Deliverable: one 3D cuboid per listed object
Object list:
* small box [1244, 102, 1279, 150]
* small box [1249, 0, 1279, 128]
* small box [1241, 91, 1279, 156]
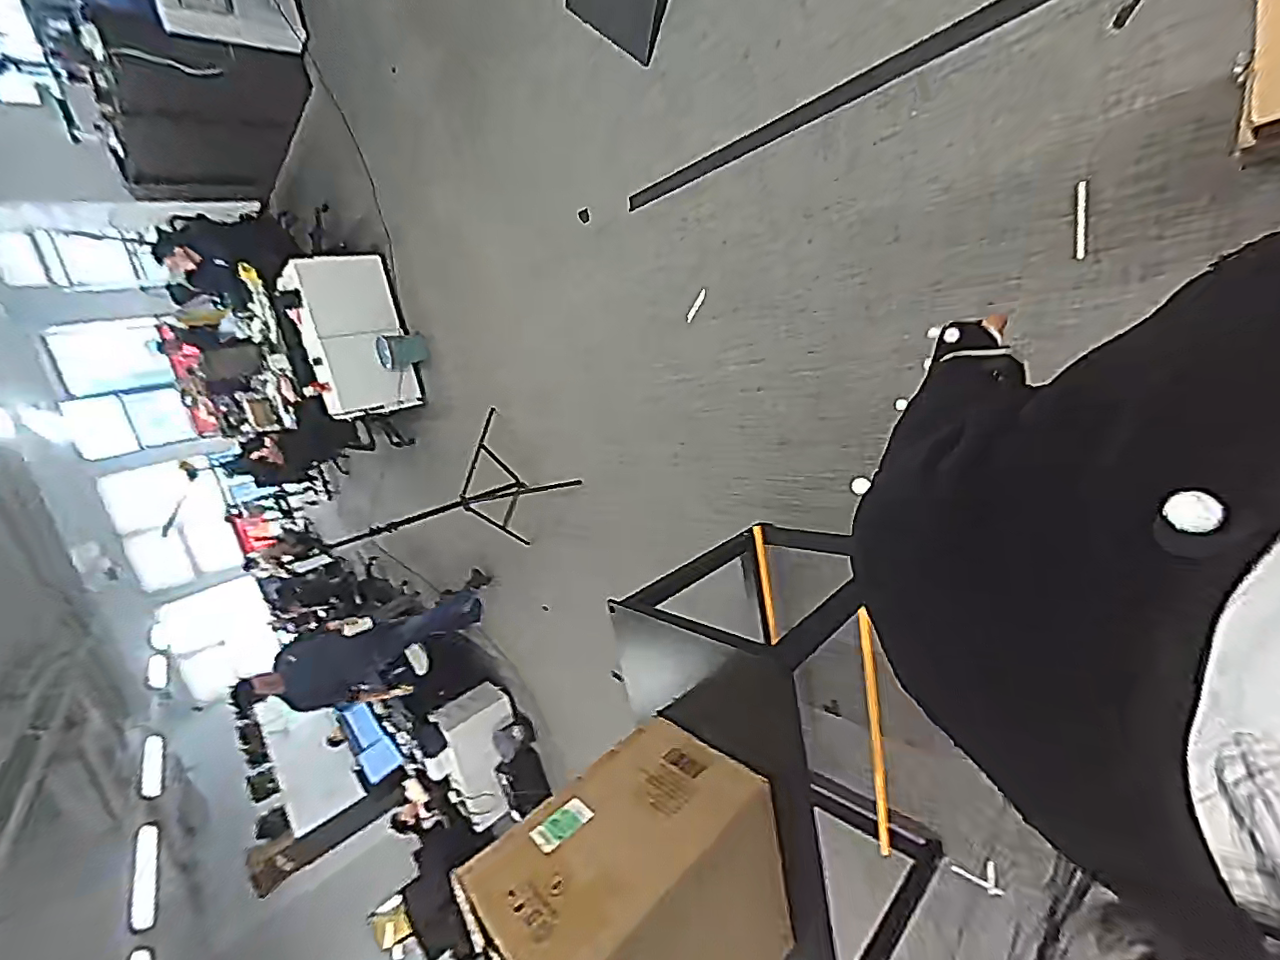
[{"bbox_3d":[0.811,-0.491,0.601,0.168,0.176,0.179,10,117,48],"label":"small box"},{"bbox_3d":[0.693,-0.449,0.494,0.168,0.176,0.179,5,112,49],"label":"small box"},{"bbox_3d":[1.042,-0.600,0.804,0.179,0.176,0.168,10,116,47],"label":"small box"}]
